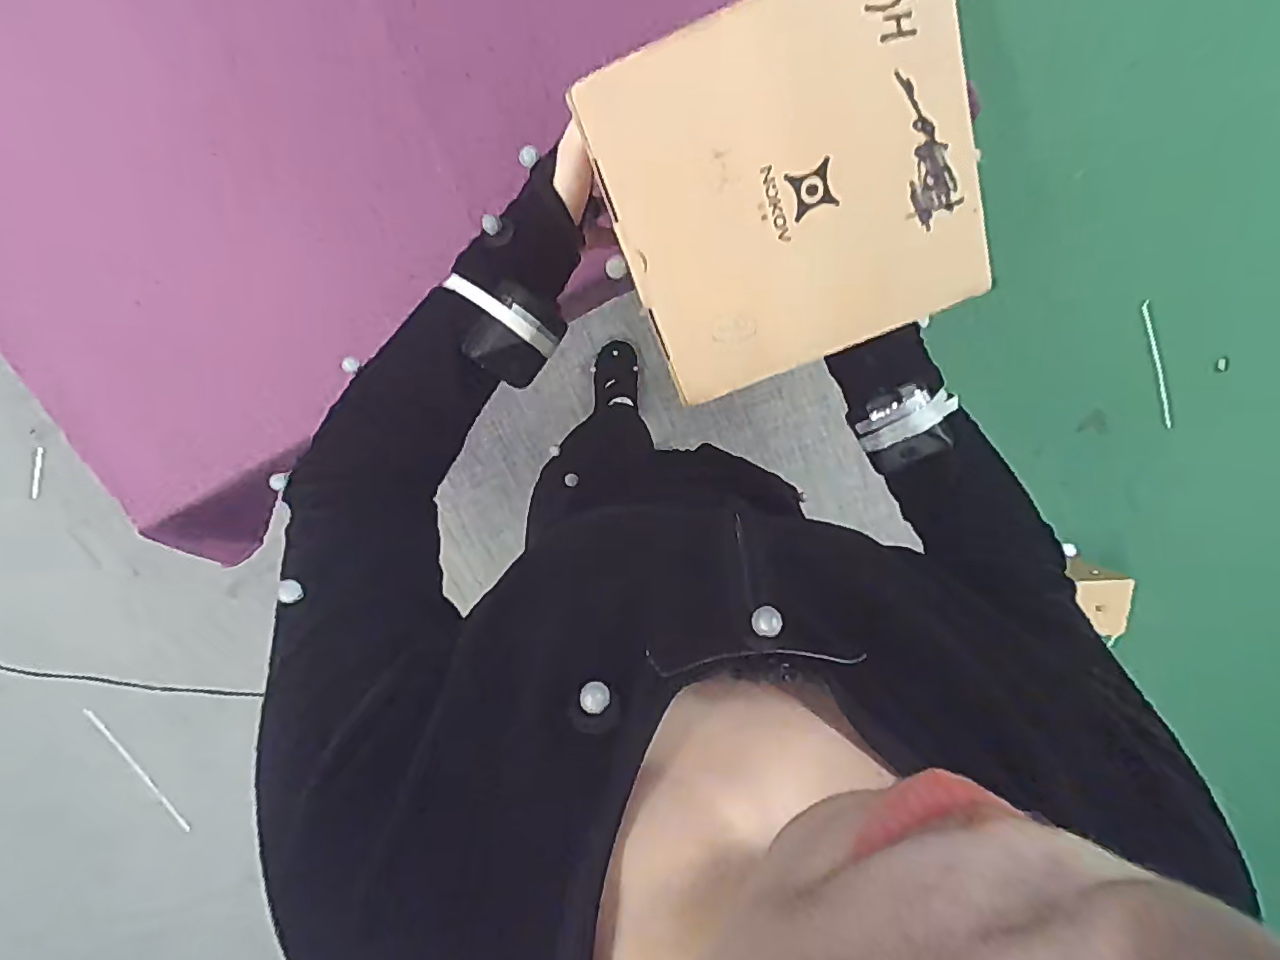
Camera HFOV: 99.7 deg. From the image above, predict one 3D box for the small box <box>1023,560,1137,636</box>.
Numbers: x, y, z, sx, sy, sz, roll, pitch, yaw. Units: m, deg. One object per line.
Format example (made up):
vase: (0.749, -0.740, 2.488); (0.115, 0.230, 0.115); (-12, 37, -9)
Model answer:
small box: (1.256, 0.333, 1.555); (0.179, 0.176, 0.168); (-1, 102, -3)

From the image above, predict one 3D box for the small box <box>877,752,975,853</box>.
small box: (0.877, 0.990, 1.674); (0.179, 0.176, 0.168); (-36, 102, 5)

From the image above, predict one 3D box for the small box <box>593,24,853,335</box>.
small box: (0.066, -0.251, 0.494); (0.168, 0.176, 0.179); (-20, 111, 7)
